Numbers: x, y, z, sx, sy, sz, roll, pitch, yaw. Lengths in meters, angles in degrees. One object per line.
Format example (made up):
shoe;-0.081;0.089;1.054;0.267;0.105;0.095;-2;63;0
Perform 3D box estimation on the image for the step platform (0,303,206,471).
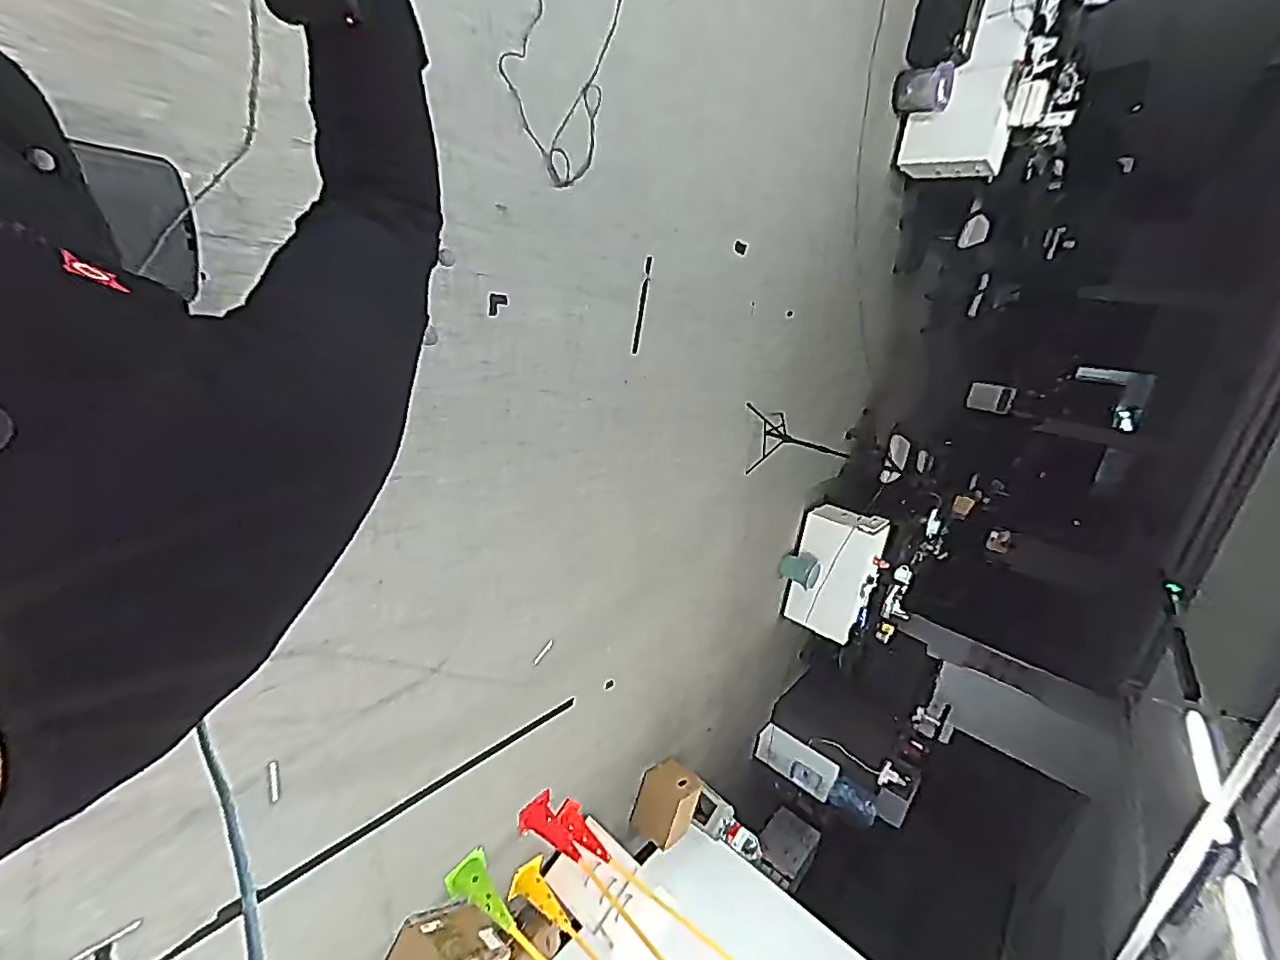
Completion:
step platform;-1.191;-0.163;0.939;0.684;0.204;0.286;-15;119;-46
